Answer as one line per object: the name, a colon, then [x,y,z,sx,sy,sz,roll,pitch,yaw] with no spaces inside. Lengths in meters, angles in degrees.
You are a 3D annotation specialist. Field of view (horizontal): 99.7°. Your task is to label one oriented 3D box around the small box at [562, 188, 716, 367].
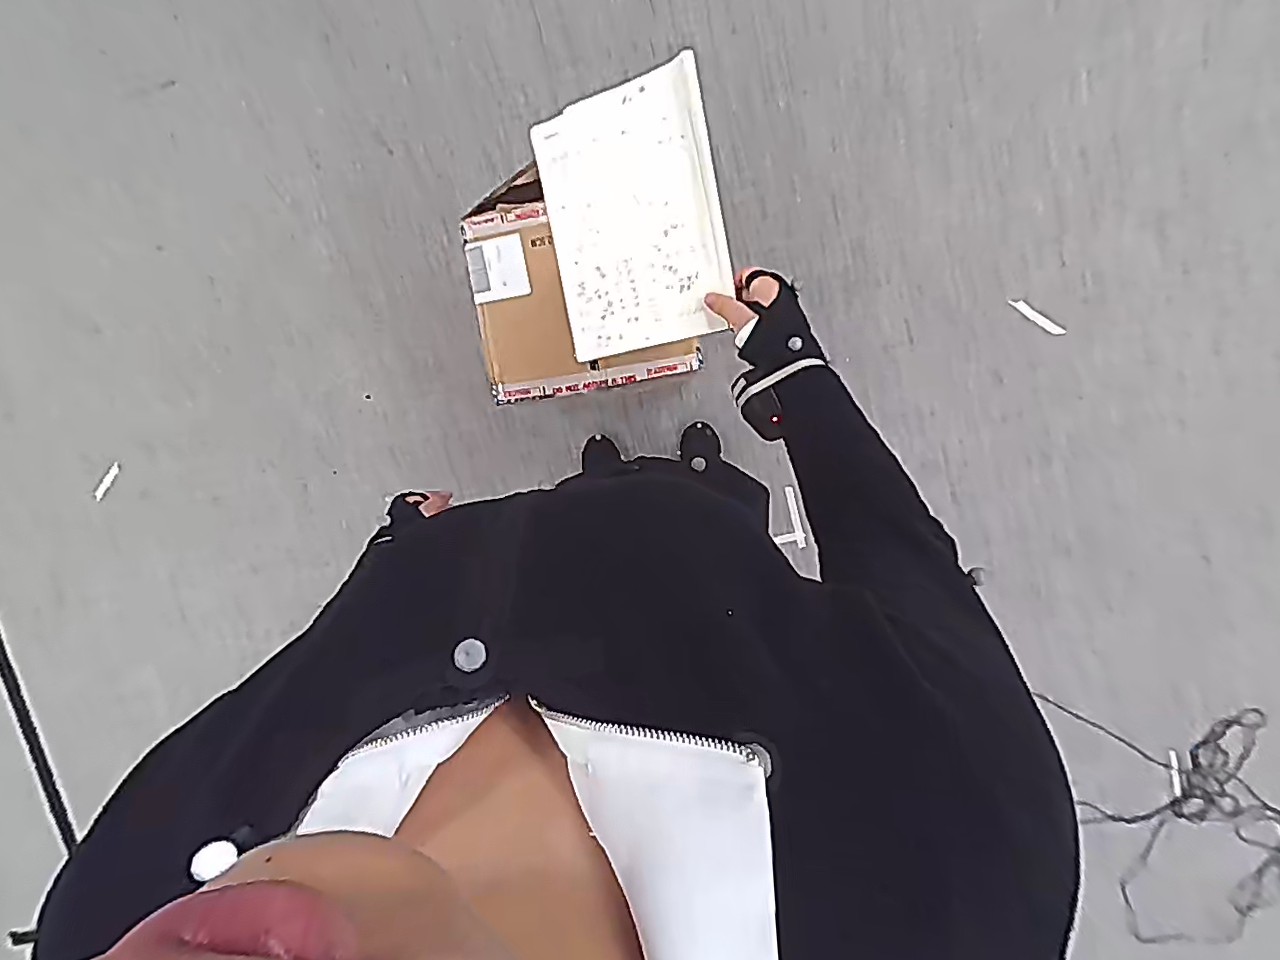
small box: [-0.001,-0.258,0.728,0.168,0.176,0.179,-10,98,2]
